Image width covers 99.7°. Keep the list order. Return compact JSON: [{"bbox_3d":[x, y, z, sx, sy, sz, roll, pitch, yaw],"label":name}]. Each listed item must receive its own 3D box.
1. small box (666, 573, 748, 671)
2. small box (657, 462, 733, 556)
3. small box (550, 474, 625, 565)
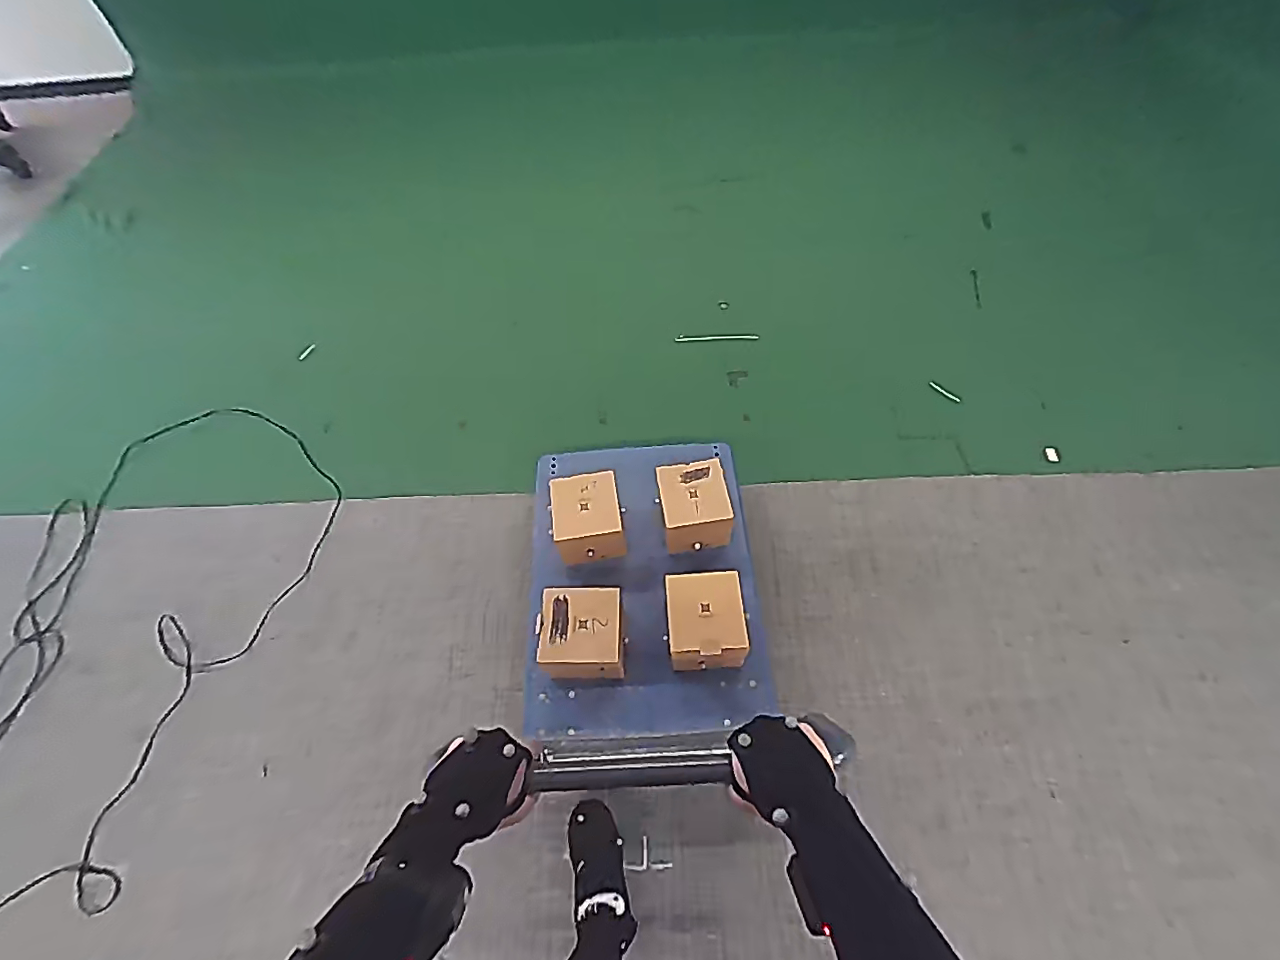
[{"bbox_3d":[0.146,0.330,1.246,0.168,0.176,0.179,-4,59,1],"label":"small box"},{"bbox_3d":[0.135,0.078,1.400,0.168,0.176,0.179,-8,60,-1],"label":"small box"},{"bbox_3d":[-0.133,0.109,1.396,0.168,0.176,0.179,-8,58,-3],"label":"small box"}]
